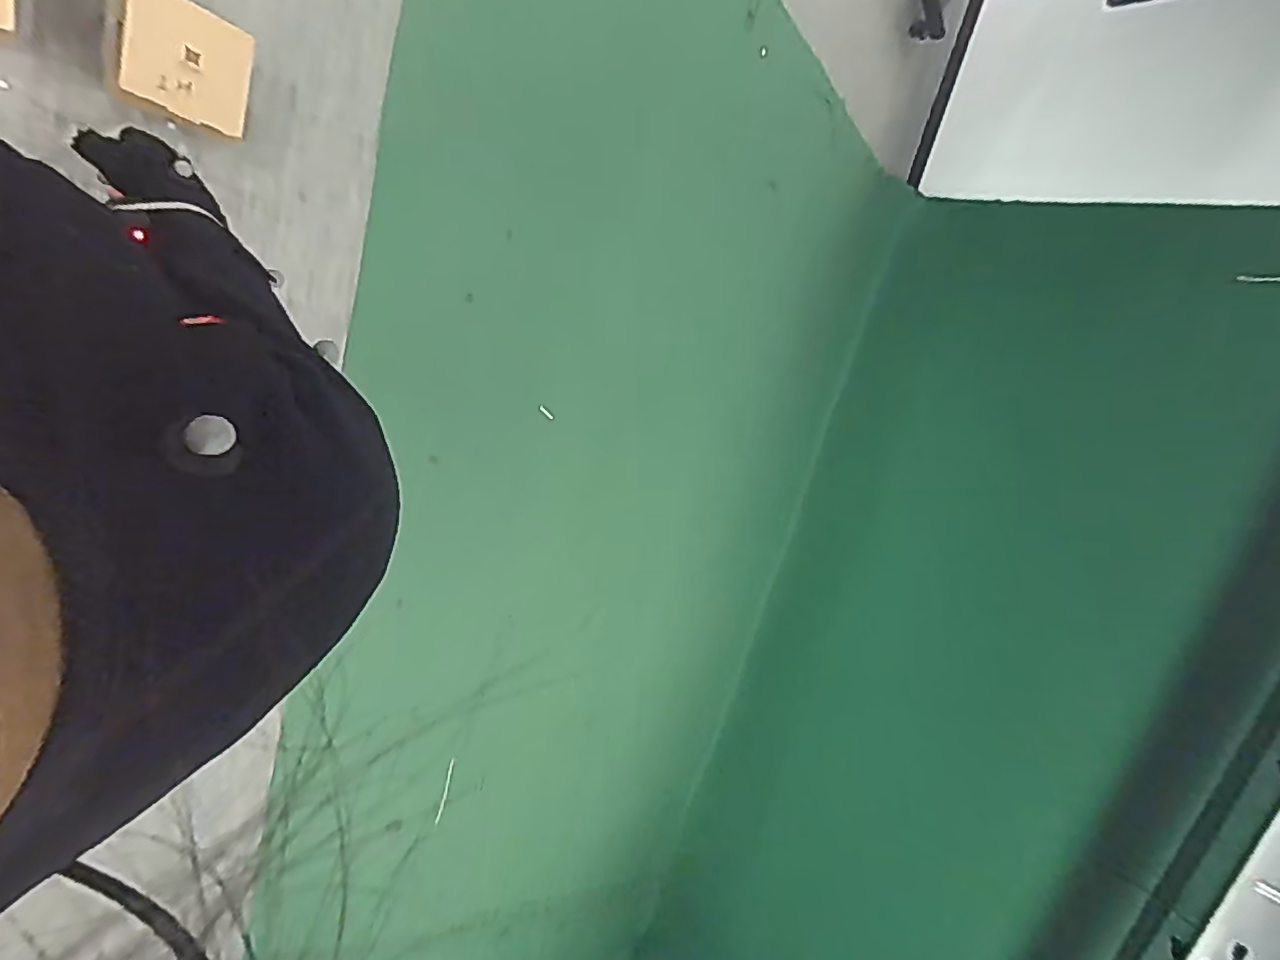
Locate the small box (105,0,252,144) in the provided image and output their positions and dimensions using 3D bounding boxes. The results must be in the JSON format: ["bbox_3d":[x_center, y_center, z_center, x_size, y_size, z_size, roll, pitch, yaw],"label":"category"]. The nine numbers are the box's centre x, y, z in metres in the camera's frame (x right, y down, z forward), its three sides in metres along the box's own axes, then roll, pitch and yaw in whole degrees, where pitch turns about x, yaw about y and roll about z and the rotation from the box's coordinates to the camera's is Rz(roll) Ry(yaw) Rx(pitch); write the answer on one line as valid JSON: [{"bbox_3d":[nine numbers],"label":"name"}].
[{"bbox_3d":[-0.826,-0.733,0.965,0.168,0.176,0.179,4,107,-50],"label":"small box"}]
